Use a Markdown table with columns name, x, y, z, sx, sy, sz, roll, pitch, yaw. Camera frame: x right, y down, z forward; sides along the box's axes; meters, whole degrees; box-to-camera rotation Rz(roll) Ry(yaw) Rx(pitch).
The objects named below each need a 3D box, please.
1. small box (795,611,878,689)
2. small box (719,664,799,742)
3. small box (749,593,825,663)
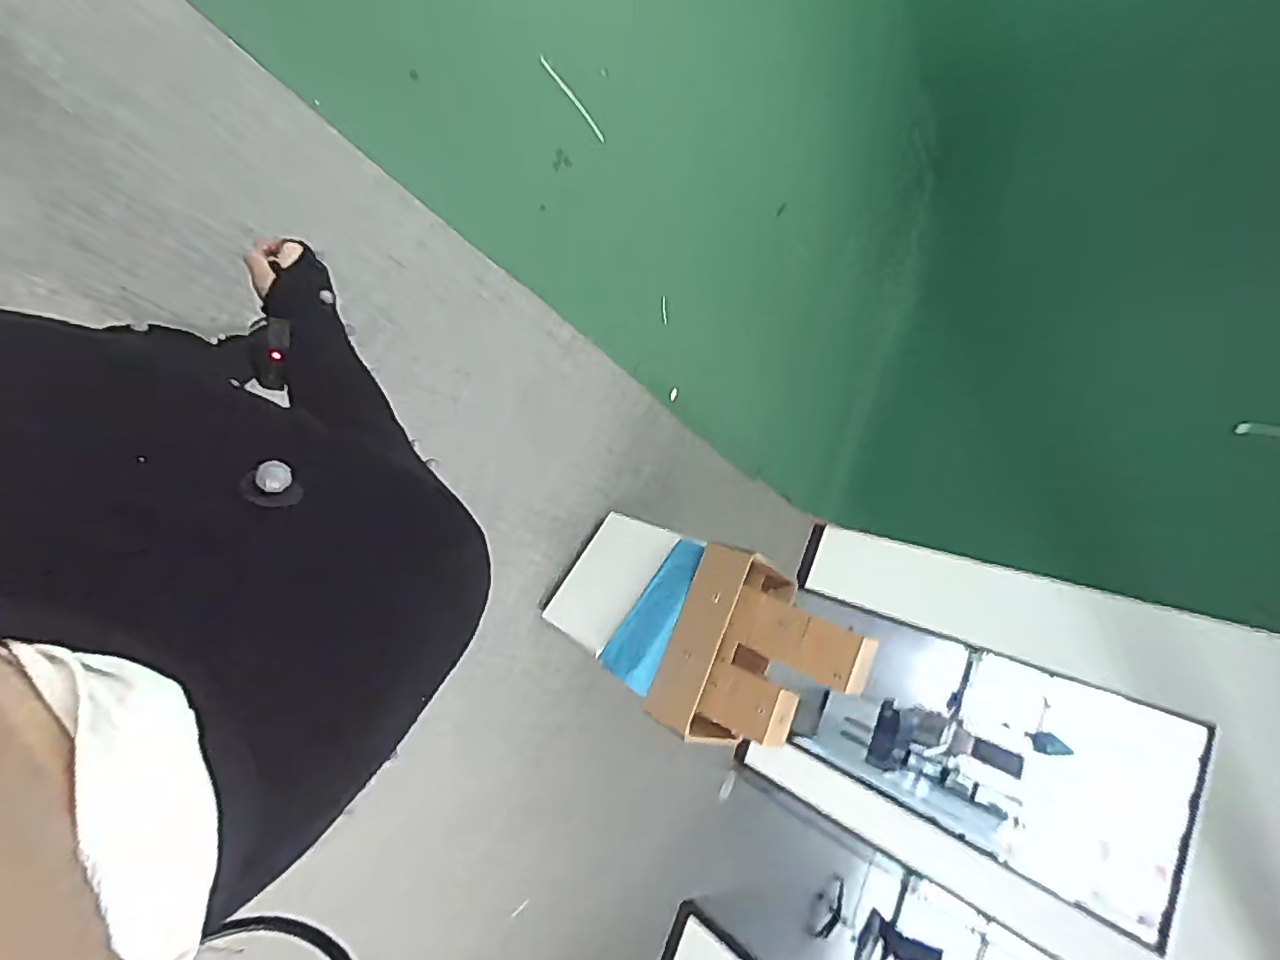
| name | x | y | z | sx | sy | sz | roll | pitch | yaw |
| --- | --- | --- | --- | --- | --- | --- | --- | --- | --- |
| small box | 0.598 | 0.518 | 1.657 | 0.168 | 0.176 | 0.179 | 25 | 85 | -48 |
| small box | 0.373 | 0.701 | 1.709 | 0.168 | 0.176 | 0.179 | 35 | 75 | -47 |
| small box | 0.480 | 0.483 | 1.763 | 0.168 | 0.176 | 0.179 | 26 | 83 | -48 |
